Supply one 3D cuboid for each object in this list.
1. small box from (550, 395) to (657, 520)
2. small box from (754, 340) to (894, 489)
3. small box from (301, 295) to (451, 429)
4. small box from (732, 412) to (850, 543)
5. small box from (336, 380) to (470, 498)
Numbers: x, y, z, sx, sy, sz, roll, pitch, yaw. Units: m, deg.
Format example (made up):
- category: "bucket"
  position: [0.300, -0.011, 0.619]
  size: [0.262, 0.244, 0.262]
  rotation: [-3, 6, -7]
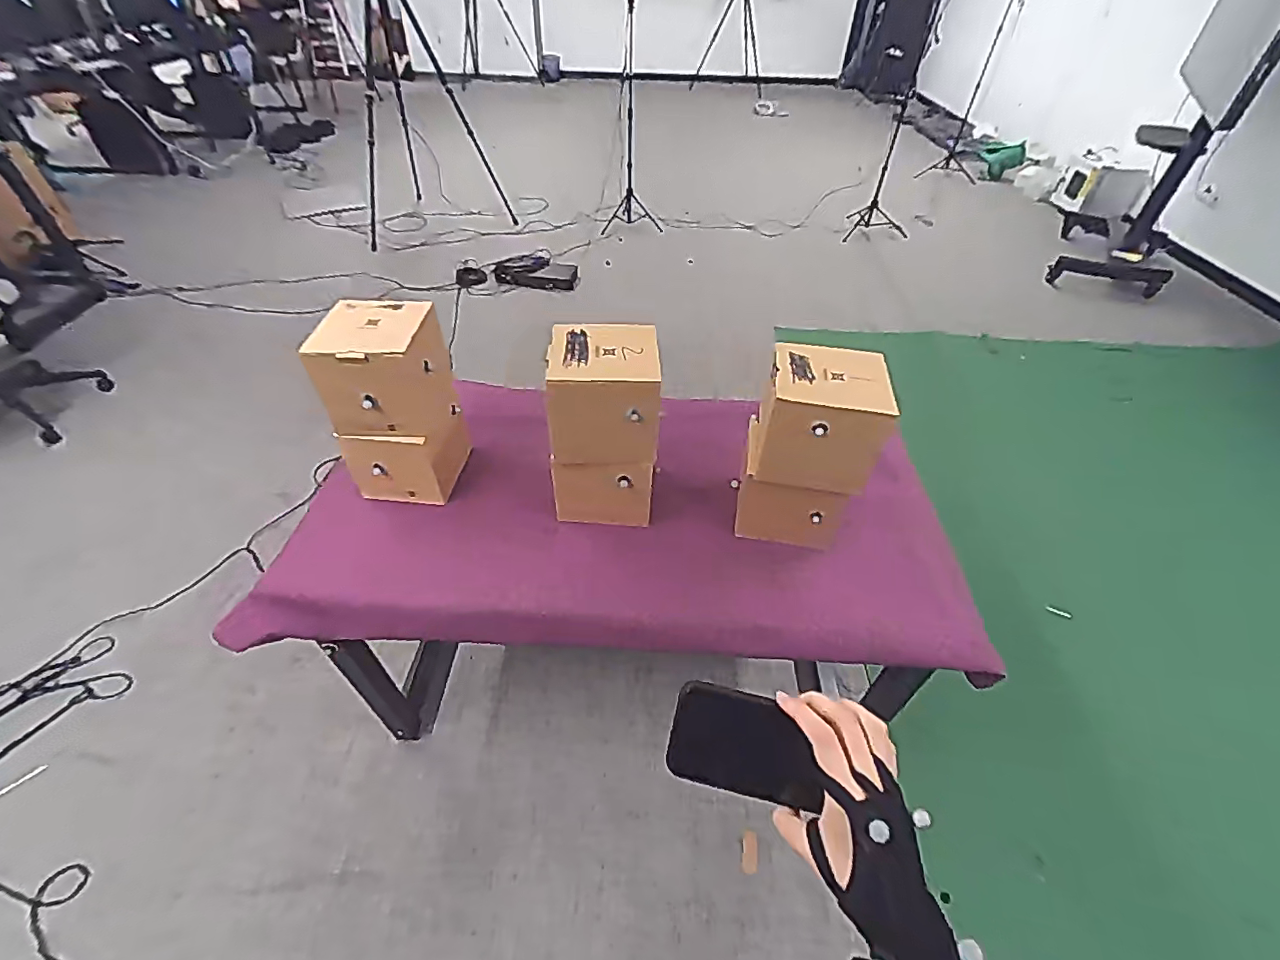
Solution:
- category: "small box"
  position: [-0.063, -0.039, 1.030]
  size: [0.179, 0.176, 0.168]
  rotation: [4, 45, 3]
- category: "small box"
  position: [0.286, -0.105, 0.879]
  size: [0.179, 0.176, 0.168]
  rotation: [9, 46, 6]
- category: "small box"
  position: [-0.446, -0.204, 0.950]
  size: [0.168, 0.176, 0.179]
  rotation: [2, 46, -1]
- category: "small box"
  position: [0.275, -0.002, 1.007]
  size: [0.179, 0.176, 0.168]
  rotation: [9, 46, 7]
- category: "small box"
  position: [-0.450, -0.083, 1.062]
  size: [0.168, 0.176, 0.179]
  rotation: [5, 46, 3]
